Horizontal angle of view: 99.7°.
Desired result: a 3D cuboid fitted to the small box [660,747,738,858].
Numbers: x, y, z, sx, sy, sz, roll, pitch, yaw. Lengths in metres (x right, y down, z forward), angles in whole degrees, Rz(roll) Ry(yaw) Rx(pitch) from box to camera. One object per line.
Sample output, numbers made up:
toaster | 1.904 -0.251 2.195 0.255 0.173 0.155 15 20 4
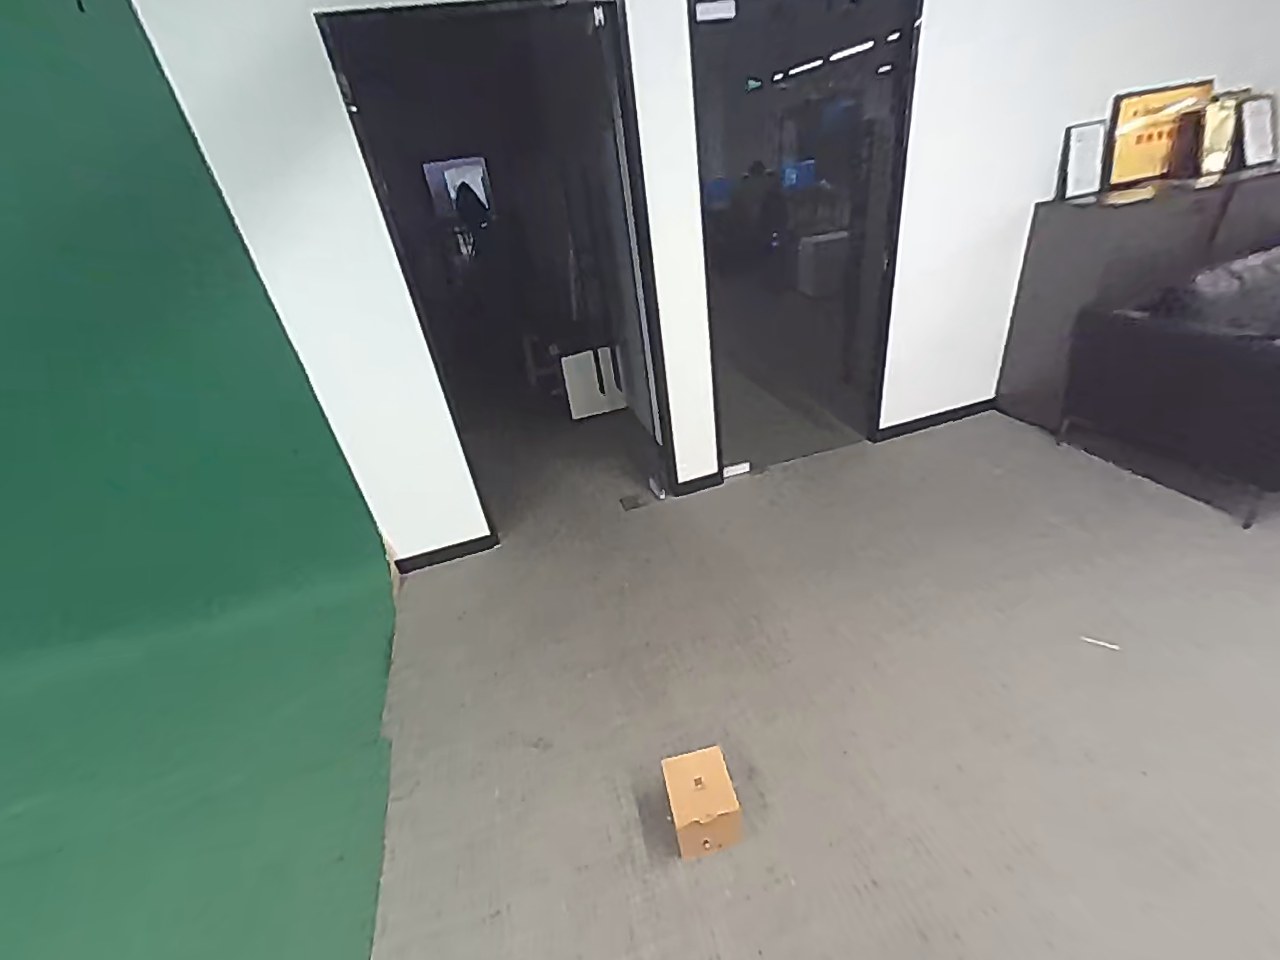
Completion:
small box | 0.153 0.849 1.428 0.168 0.176 0.179 -11 31 -6
